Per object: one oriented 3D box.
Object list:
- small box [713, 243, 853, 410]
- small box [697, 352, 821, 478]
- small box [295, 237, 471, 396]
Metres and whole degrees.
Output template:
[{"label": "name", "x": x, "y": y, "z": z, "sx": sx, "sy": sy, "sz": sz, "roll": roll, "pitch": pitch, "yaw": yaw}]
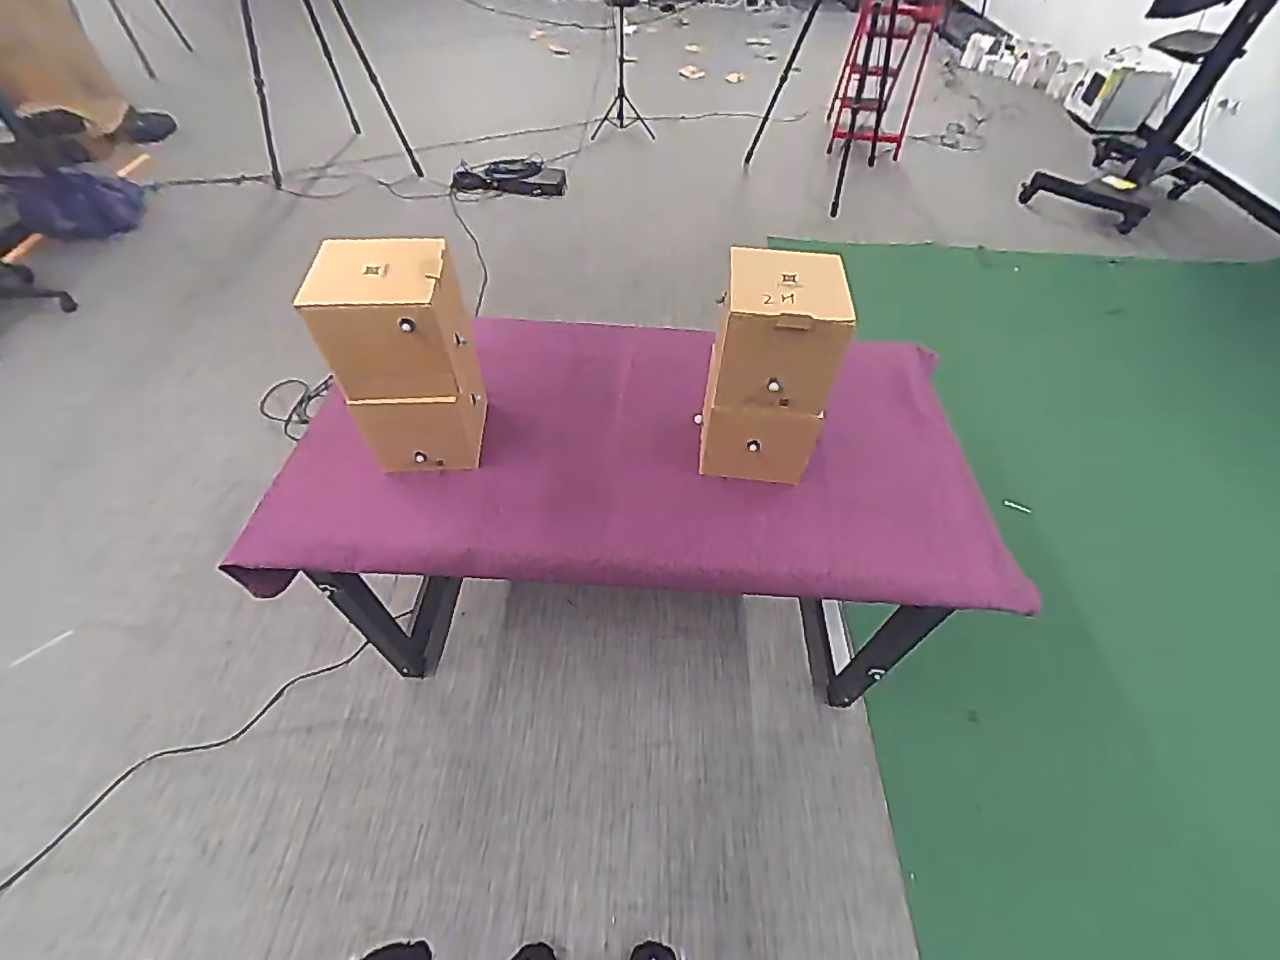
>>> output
[{"label": "small box", "x": 0.203, "y": -0.230, "z": 0.817, "sx": 0.168, "sy": 0.176, "sz": 0.179, "roll": 5, "pitch": 52, "yaw": 4}, {"label": "small box", "x": 0.201, "y": -0.122, "z": 0.939, "sx": 0.179, "sy": 0.176, "sz": 0.168, "roll": 8, "pitch": 50, "yaw": 5}, {"label": "small box", "x": -0.368, "y": -0.241, "z": 0.812, "sx": 0.179, "sy": 0.176, "sz": 0.168, "roll": -3, "pitch": 52, "yaw": -5}]
